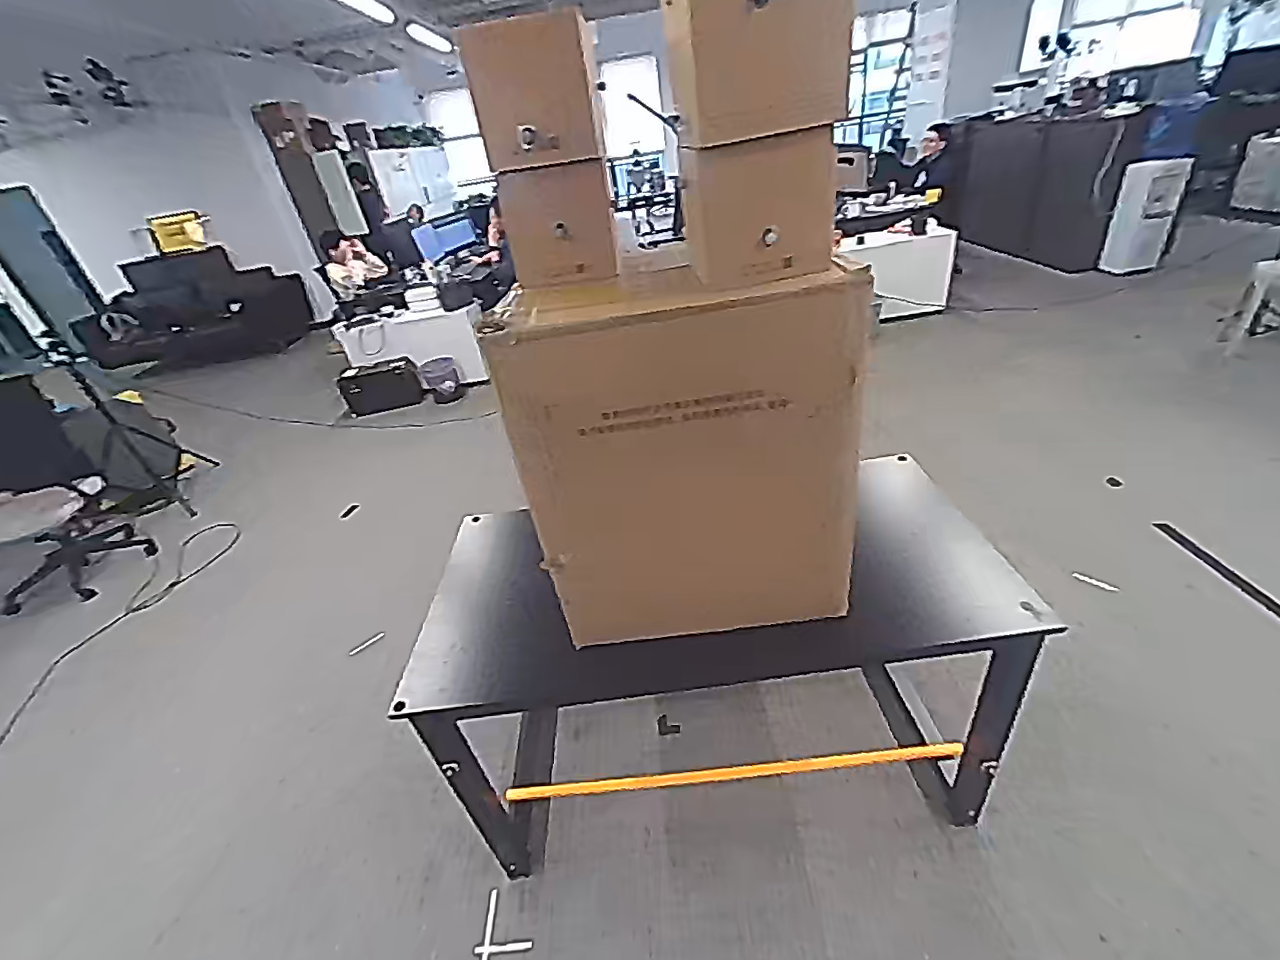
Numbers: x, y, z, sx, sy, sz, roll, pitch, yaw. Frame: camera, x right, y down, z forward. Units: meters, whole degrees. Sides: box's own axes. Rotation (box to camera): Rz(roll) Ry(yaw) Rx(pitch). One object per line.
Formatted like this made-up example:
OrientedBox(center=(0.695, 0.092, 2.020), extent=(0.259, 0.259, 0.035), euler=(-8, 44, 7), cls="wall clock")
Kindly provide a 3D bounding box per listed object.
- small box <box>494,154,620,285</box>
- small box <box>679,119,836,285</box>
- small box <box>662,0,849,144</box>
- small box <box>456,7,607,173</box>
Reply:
OrientedBox(center=(-0.126, -0.429, 0.895), extent=(0.168, 0.176, 0.179), euler=(-7, 33, 2), cls="small box")
OrientedBox(center=(0.152, -0.377, 0.737), extent=(0.168, 0.176, 0.179), euler=(-11, 33, 1), cls="small box")
OrientedBox(center=(0.131, -0.501, 0.628), extent=(0.179, 0.176, 0.168), euler=(-11, 34, -1), cls="small box")
OrientedBox(center=(-0.144, -0.558, 0.794), extent=(0.168, 0.176, 0.179), euler=(-7, 33, 5), cls="small box")
